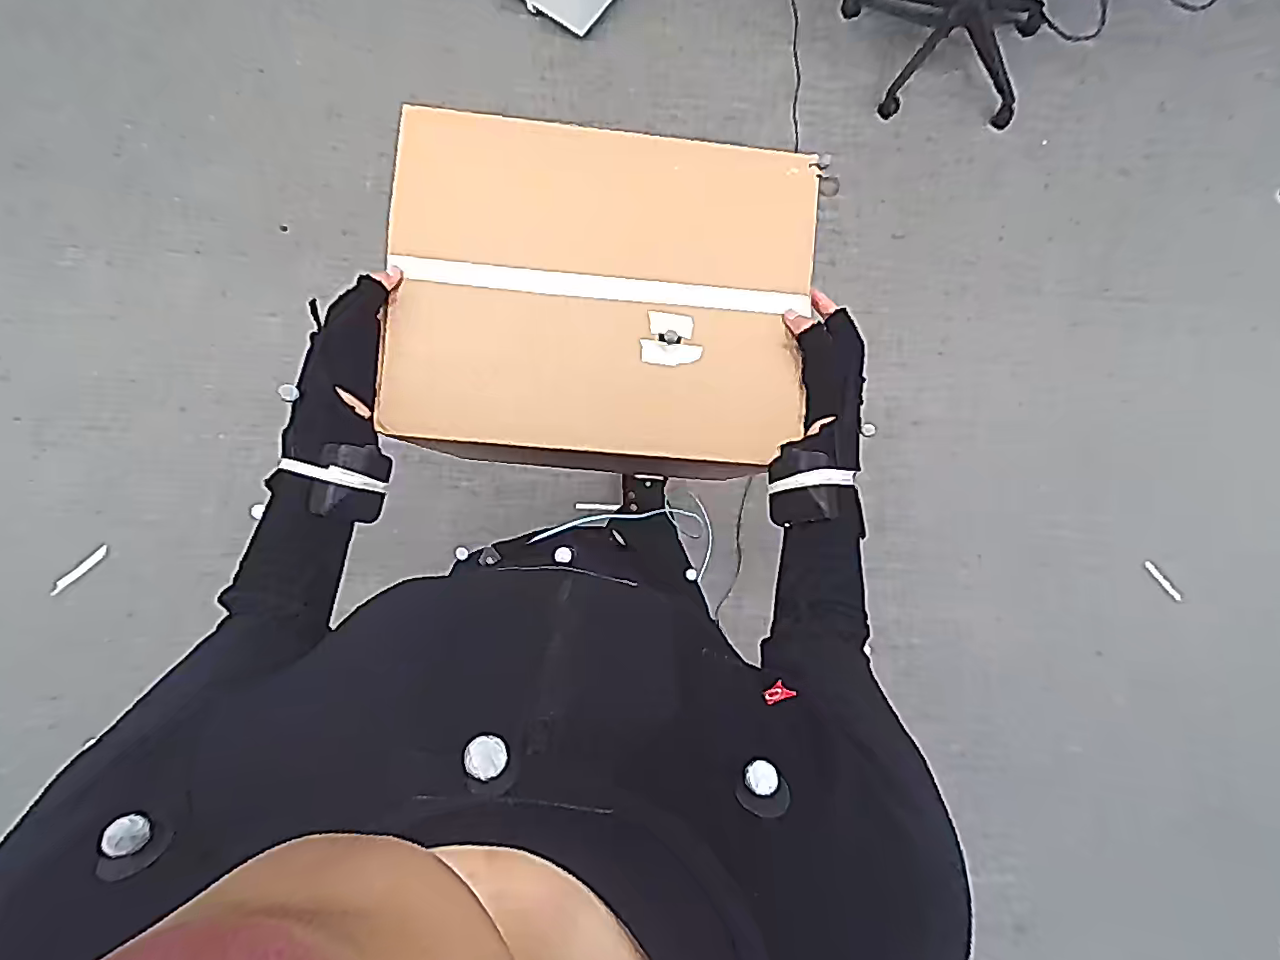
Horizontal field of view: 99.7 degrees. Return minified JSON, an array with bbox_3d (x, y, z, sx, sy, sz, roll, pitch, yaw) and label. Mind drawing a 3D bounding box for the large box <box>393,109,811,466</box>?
[{"bbox_3d":[-0.044,-0.192,0.682,0.408,0.320,0.320,5,89,-5],"label":"large box"}]
